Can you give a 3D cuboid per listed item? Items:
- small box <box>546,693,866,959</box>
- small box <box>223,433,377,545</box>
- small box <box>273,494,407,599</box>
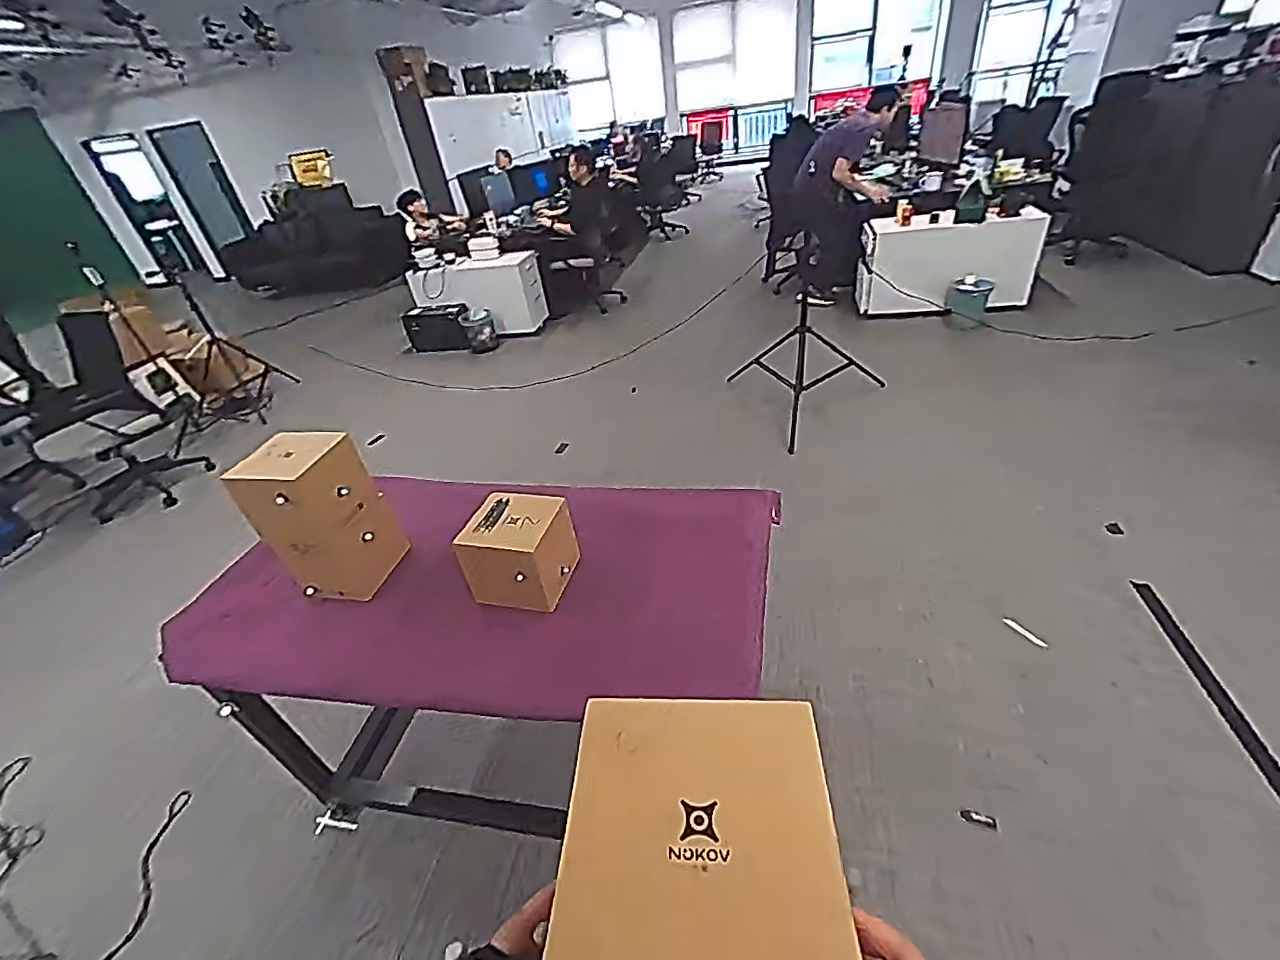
[{"bbox_3d":[0.043,0.274,0.373,0.168,0.176,0.179,-2,35,6],"label":"small box"},{"bbox_3d":[-0.682,0.019,1.111,0.179,0.176,0.168,1,36,13],"label":"small box"},{"bbox_3d":[-0.657,0.147,1.212,0.168,0.176,0.179,1,36,14],"label":"small box"}]
